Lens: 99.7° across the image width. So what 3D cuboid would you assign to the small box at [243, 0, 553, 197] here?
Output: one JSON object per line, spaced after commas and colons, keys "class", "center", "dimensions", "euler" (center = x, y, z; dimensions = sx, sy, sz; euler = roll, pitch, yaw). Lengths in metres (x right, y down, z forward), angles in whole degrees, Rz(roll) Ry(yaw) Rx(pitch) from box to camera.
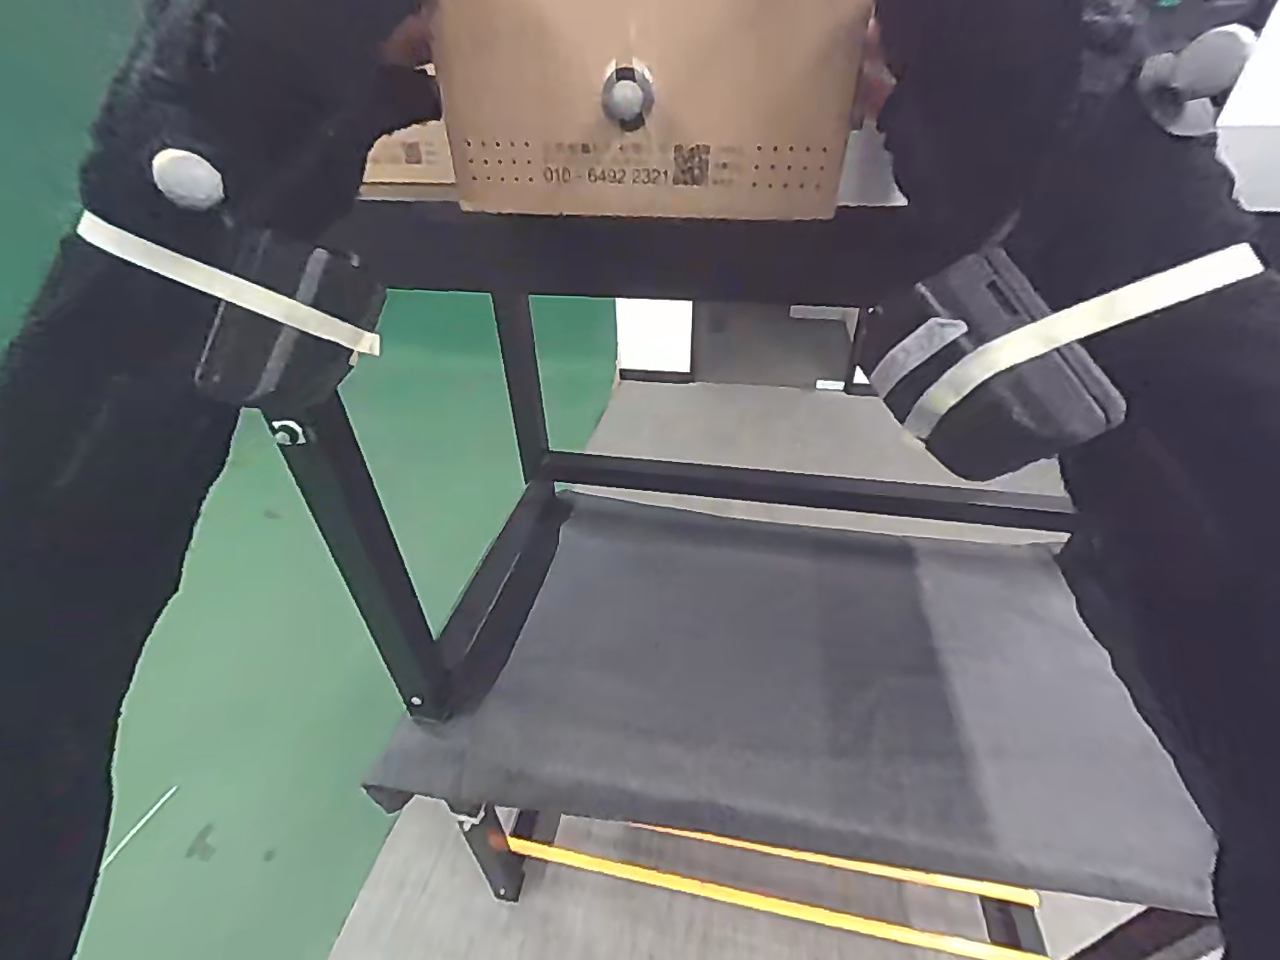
{"class": "small box", "center": [-0.178, -0.337, 0.445], "dimensions": [0.168, 0.176, 0.179], "euler": [6, 36, 9]}
